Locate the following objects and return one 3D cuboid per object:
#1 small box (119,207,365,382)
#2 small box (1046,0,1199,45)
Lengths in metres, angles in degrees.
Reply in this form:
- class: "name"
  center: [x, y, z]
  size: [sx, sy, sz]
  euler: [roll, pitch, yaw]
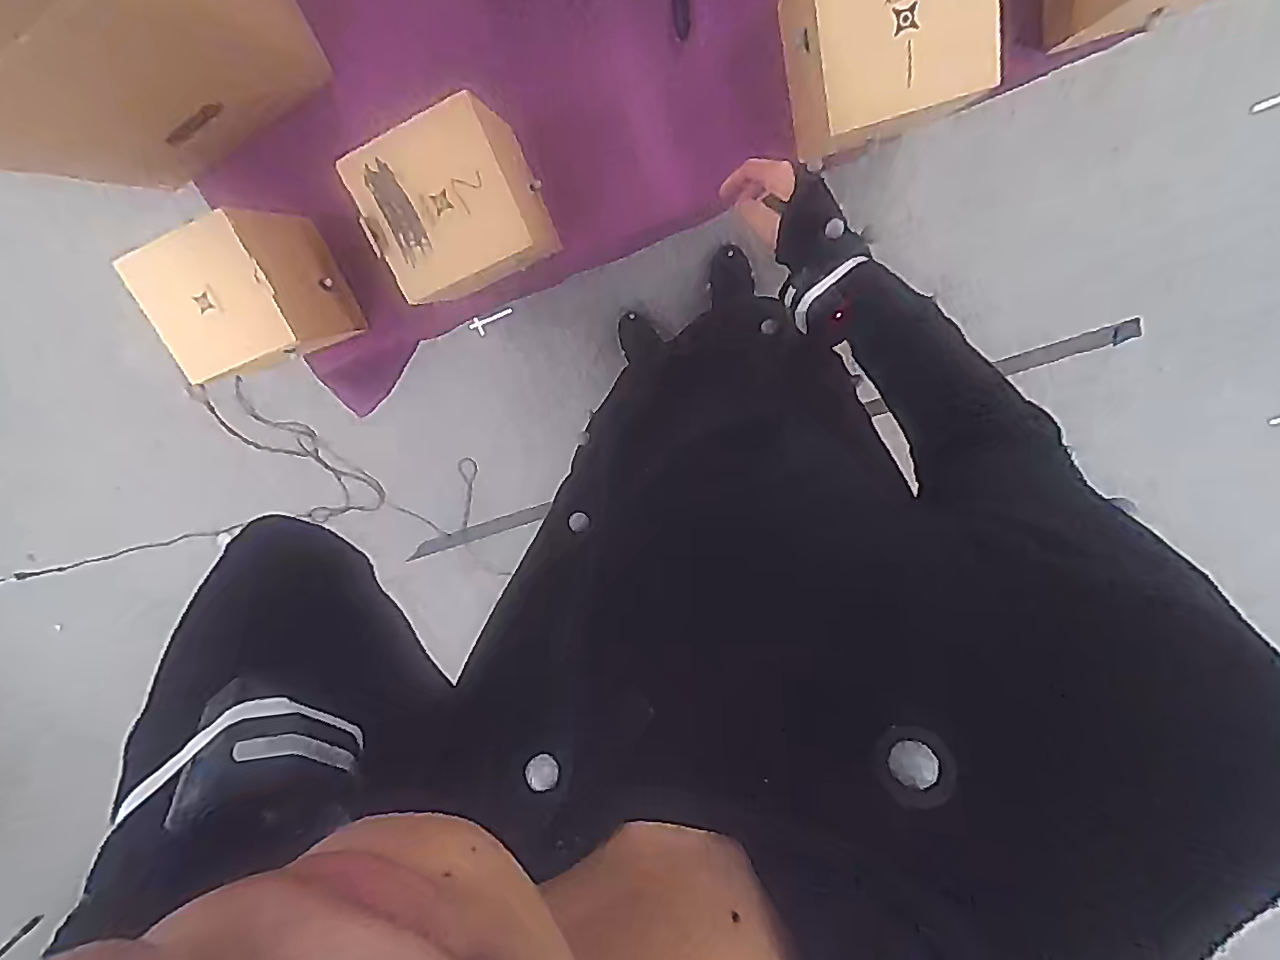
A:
- class: "small box"
  center: [-0.529, -0.252, 0.748]
  size: [0.179, 0.176, 0.168]
  euler: [-18, 109, 11]
- class: "small box"
  center: [0.526, -0.573, 0.519]
  size: [0.168, 0.176, 0.179]
  euler: [-12, 110, 11]
